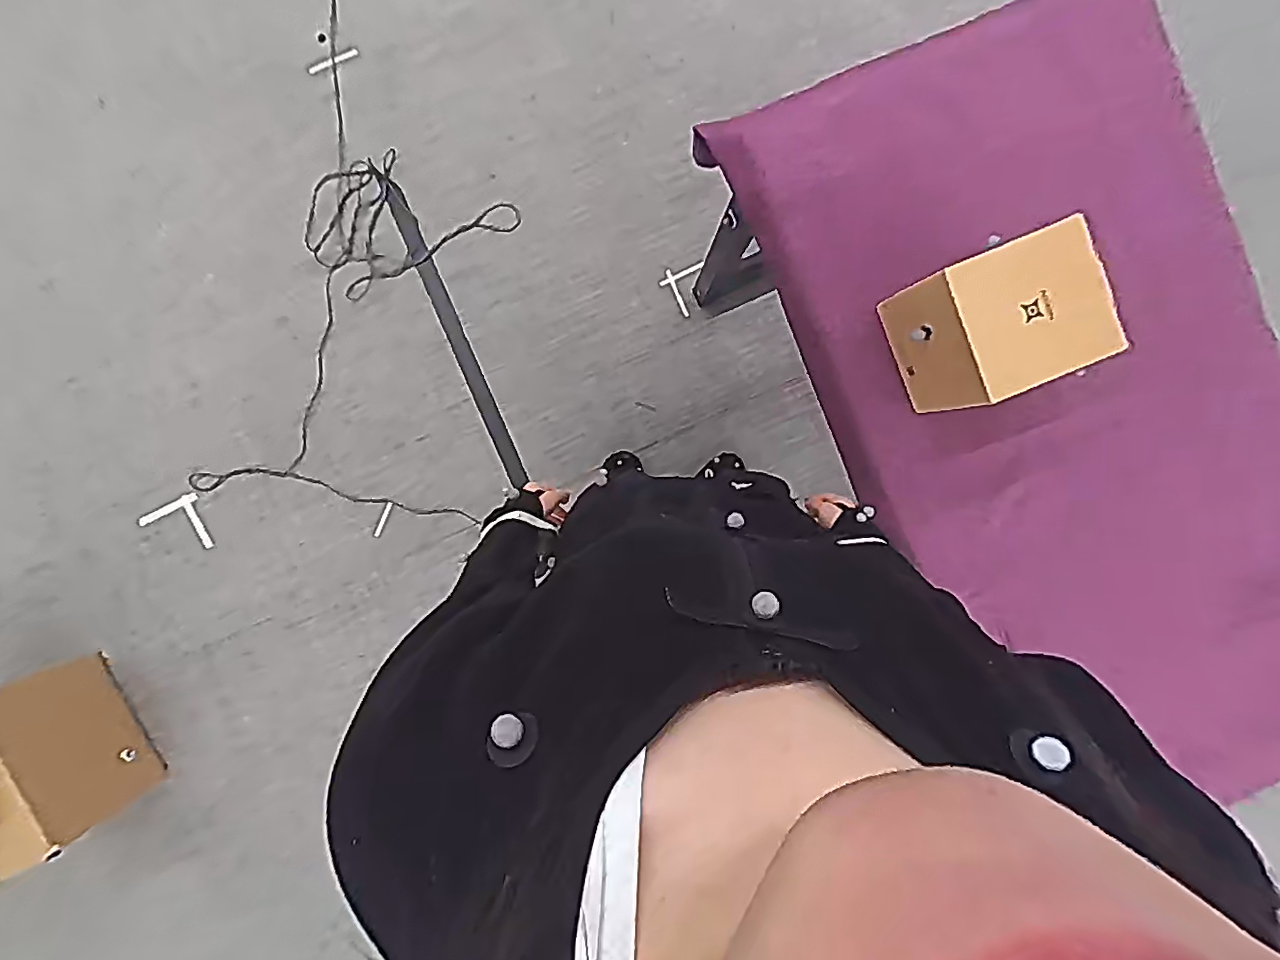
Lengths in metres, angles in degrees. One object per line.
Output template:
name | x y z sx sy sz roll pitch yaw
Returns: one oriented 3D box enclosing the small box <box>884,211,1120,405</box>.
small box | 0.447 -0.206 0.703 0.179 0.176 0.168 -23 94 -2
